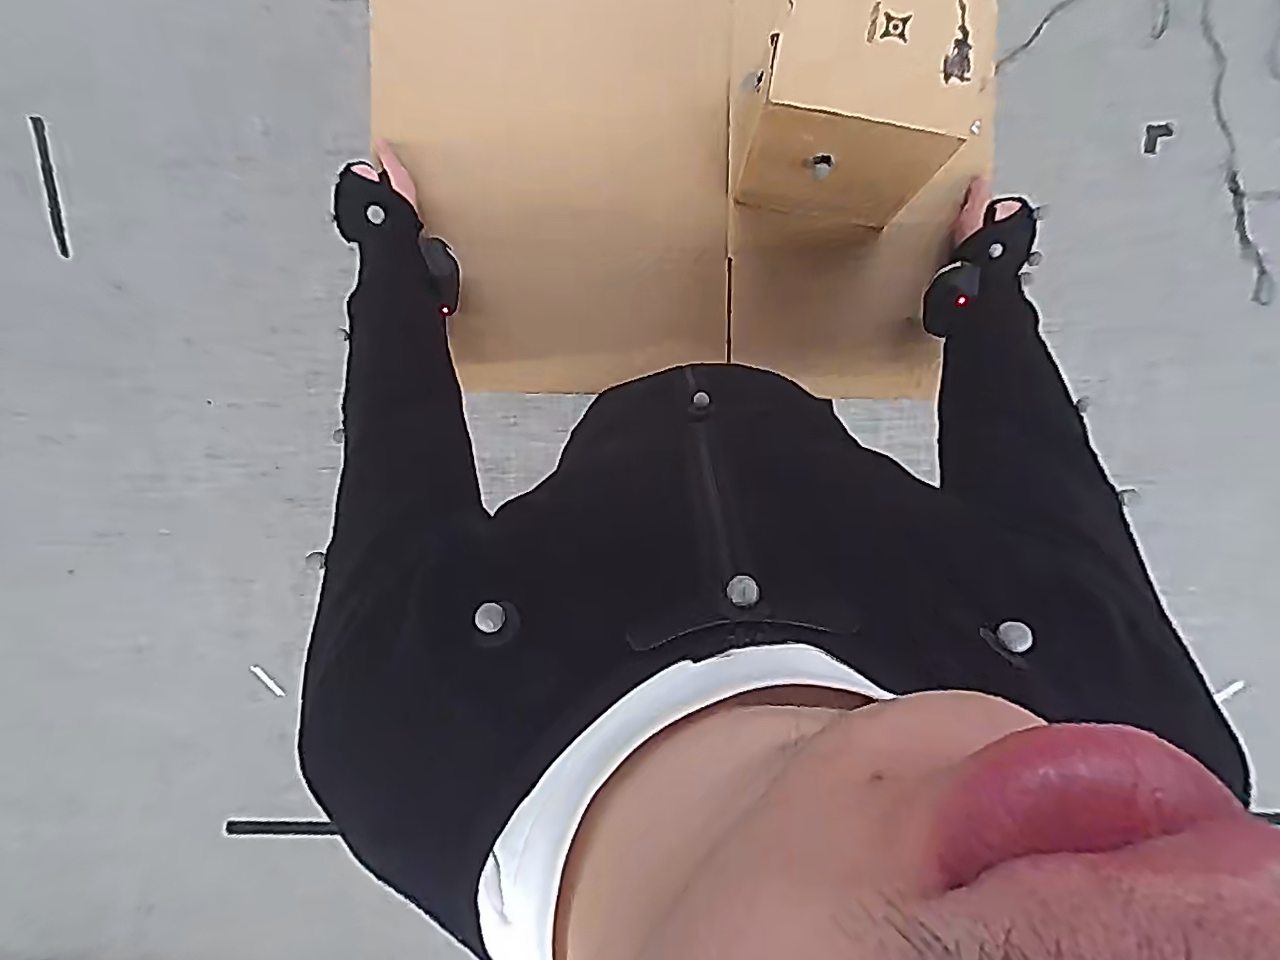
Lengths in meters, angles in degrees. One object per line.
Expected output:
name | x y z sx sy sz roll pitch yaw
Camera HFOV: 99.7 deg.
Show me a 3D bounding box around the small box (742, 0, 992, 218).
small box | 0.208 -0.388 0.539 0.179 0.176 0.168 11 92 2
